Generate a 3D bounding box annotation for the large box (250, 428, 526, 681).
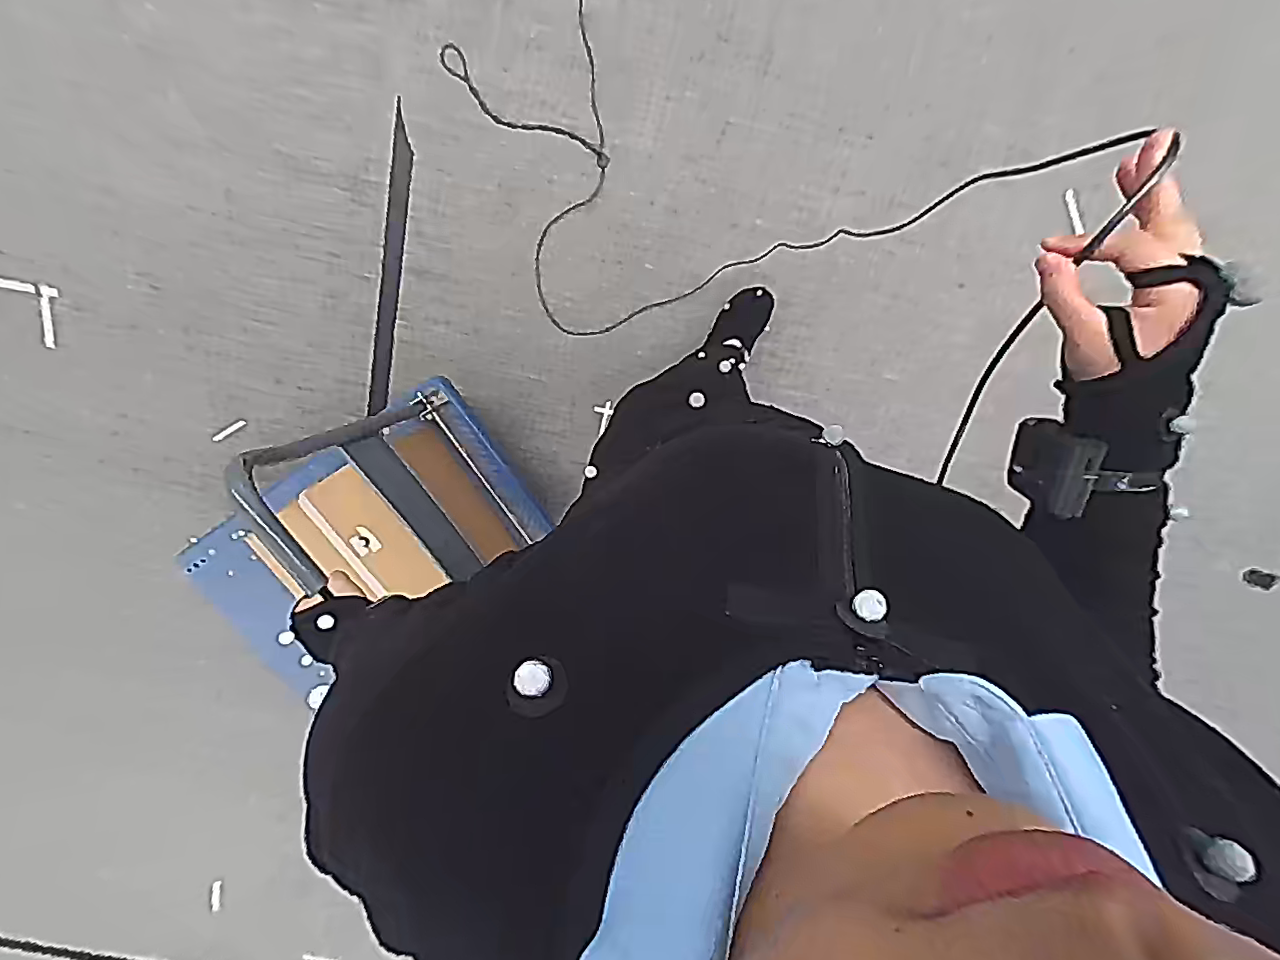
[{"bbox_3d":[-0.520,0.148,1.208,0.320,0.320,0.408,-32,102,8],"label":"large box"}]
